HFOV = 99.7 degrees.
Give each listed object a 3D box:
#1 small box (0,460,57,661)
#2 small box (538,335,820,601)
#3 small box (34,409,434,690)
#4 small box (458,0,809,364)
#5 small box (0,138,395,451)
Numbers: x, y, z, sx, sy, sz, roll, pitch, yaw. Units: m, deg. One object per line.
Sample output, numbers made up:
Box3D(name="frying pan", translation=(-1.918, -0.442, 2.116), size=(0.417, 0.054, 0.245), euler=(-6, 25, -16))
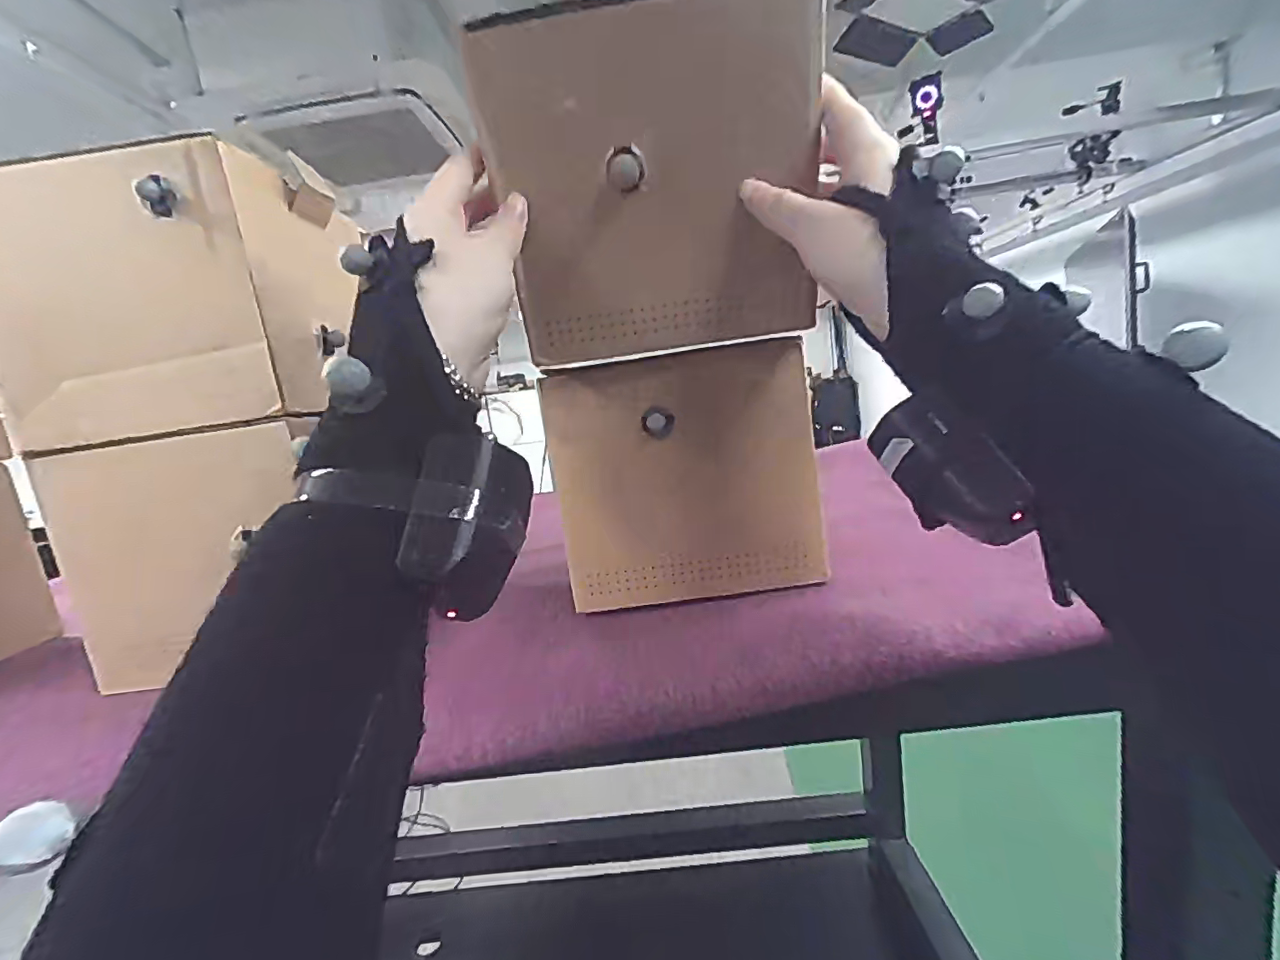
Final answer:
Box3D(name="small box", translation=(-0.626, 0.088, 0.413), size=(0.168, 0.176, 0.179), euler=(-7, 9, 0))
Box3D(name="small box", translation=(0.033, -0.009, 0.442), size=(0.179, 0.176, 0.168), euler=(-8, 7, 4))
Box3D(name="small box", translation=(-0.287, 0.042, 0.429), size=(0.179, 0.176, 0.168), euler=(-9, 8, 2))
Box3D(name="small box", translation=(0.007, -0.186, 0.367), size=(0.179, 0.176, 0.168), euler=(-8, 29, 4))
Box3D(name="small box", translation=(-0.316, -0.118, 0.407), size=(0.179, 0.176, 0.168), euler=(-8, 8, 0))
